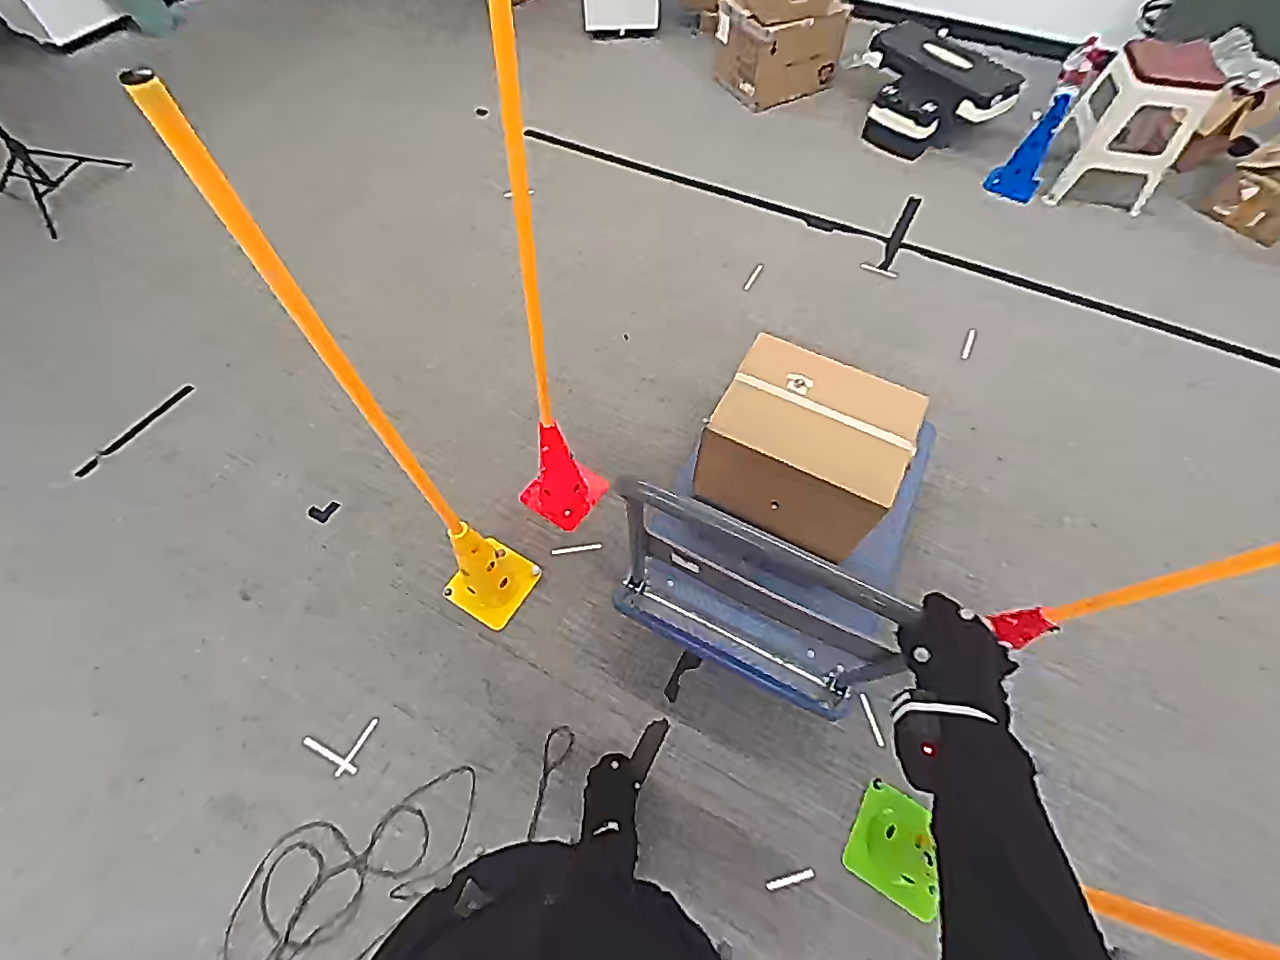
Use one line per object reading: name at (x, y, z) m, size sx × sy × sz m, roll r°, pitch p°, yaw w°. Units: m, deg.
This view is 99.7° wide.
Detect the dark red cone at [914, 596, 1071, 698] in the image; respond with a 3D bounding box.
dark red cone at (0.814, 0.340, 1.224) m, size 0.201 × 0.394 × 0.202 m, roll 26°, pitch 64°, yaw 11°

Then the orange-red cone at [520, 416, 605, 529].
orange-red cone at (-0.223, -0.054, 1.459) m, size 0.198 × 0.360 × 0.199 m, roll 33°, pitch 64°, yaw 16°

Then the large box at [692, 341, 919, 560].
large box at (0.377, -0.063, 1.304) m, size 0.408 × 0.320 × 0.320 m, roll 26°, pitch 64°, yaw 14°

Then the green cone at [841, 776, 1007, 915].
green cone at (0.565, 0.711, 1.032) m, size 0.202 × 0.368 × 0.200 m, roll 29°, pitch 64°, yaw 14°
